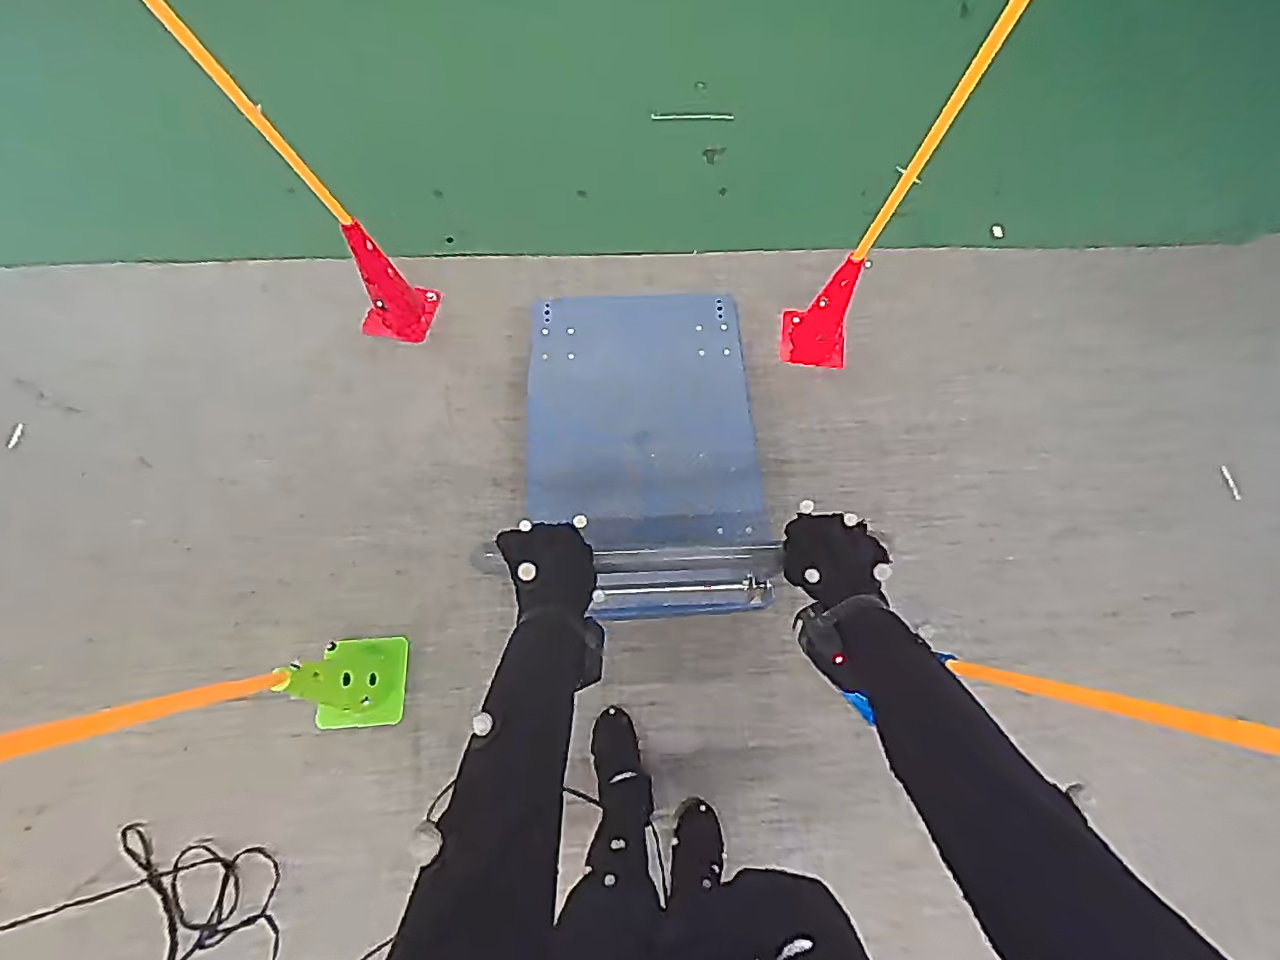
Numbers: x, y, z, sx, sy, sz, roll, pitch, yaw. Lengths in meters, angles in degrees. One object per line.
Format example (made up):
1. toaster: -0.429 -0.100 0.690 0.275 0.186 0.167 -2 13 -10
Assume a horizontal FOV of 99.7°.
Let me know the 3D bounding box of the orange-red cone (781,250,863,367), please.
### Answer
1. orange-red cone: 0.548 -0.507 1.539 0.198 0.360 0.199 9 70 2
